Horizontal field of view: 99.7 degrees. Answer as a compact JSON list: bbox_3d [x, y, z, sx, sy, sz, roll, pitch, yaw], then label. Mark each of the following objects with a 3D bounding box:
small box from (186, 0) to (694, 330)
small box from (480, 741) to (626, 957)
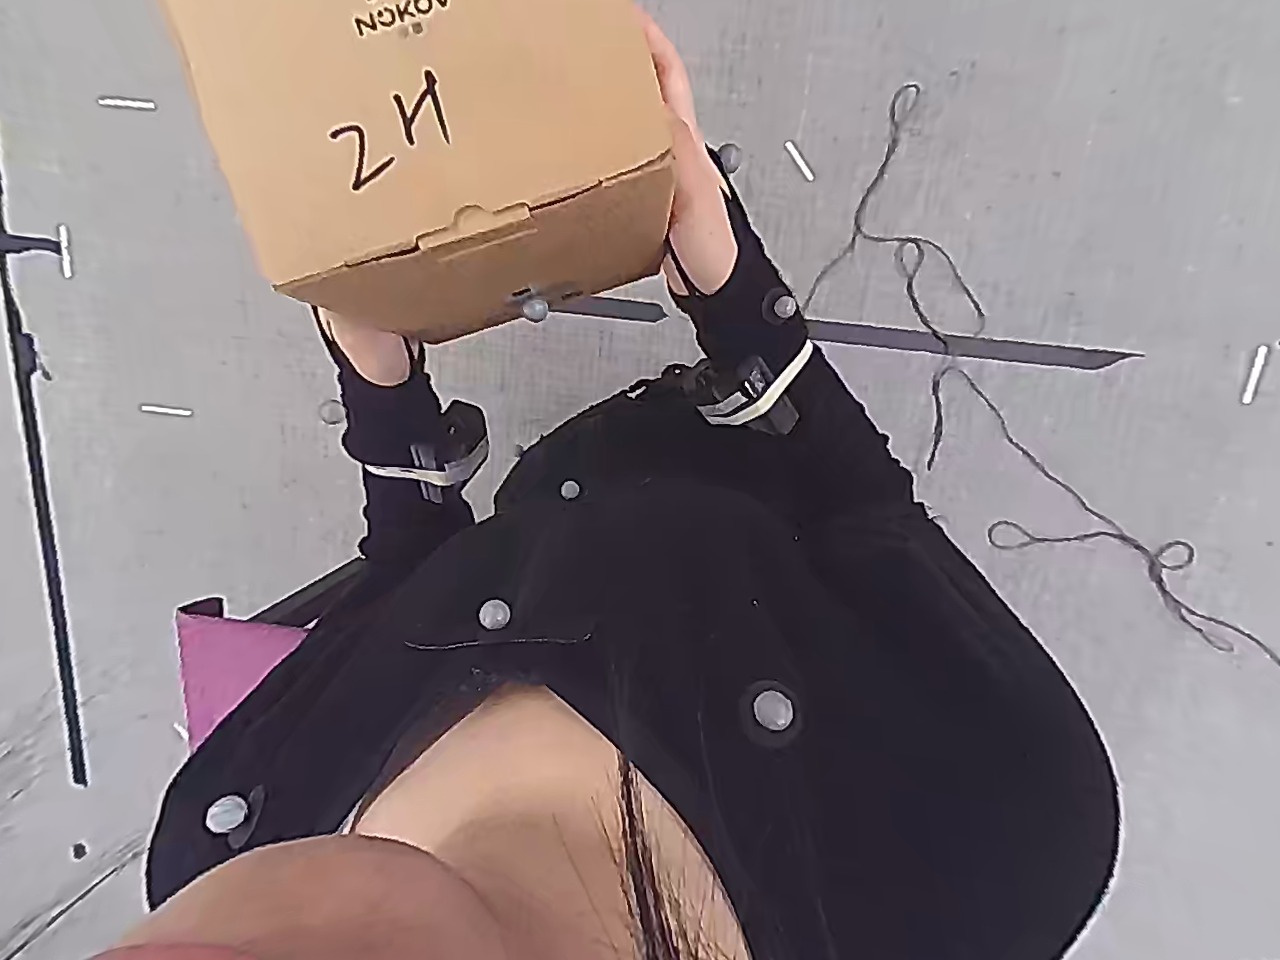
[{"bbox_3d":[-0.082,-0.192,0.273,0.168,0.176,0.179,-17,97,1],"label":"small box"},{"bbox_3d":[-0.114,0.512,0.769,0.168,0.176,0.179,8,101,1],"label":"small box"}]
